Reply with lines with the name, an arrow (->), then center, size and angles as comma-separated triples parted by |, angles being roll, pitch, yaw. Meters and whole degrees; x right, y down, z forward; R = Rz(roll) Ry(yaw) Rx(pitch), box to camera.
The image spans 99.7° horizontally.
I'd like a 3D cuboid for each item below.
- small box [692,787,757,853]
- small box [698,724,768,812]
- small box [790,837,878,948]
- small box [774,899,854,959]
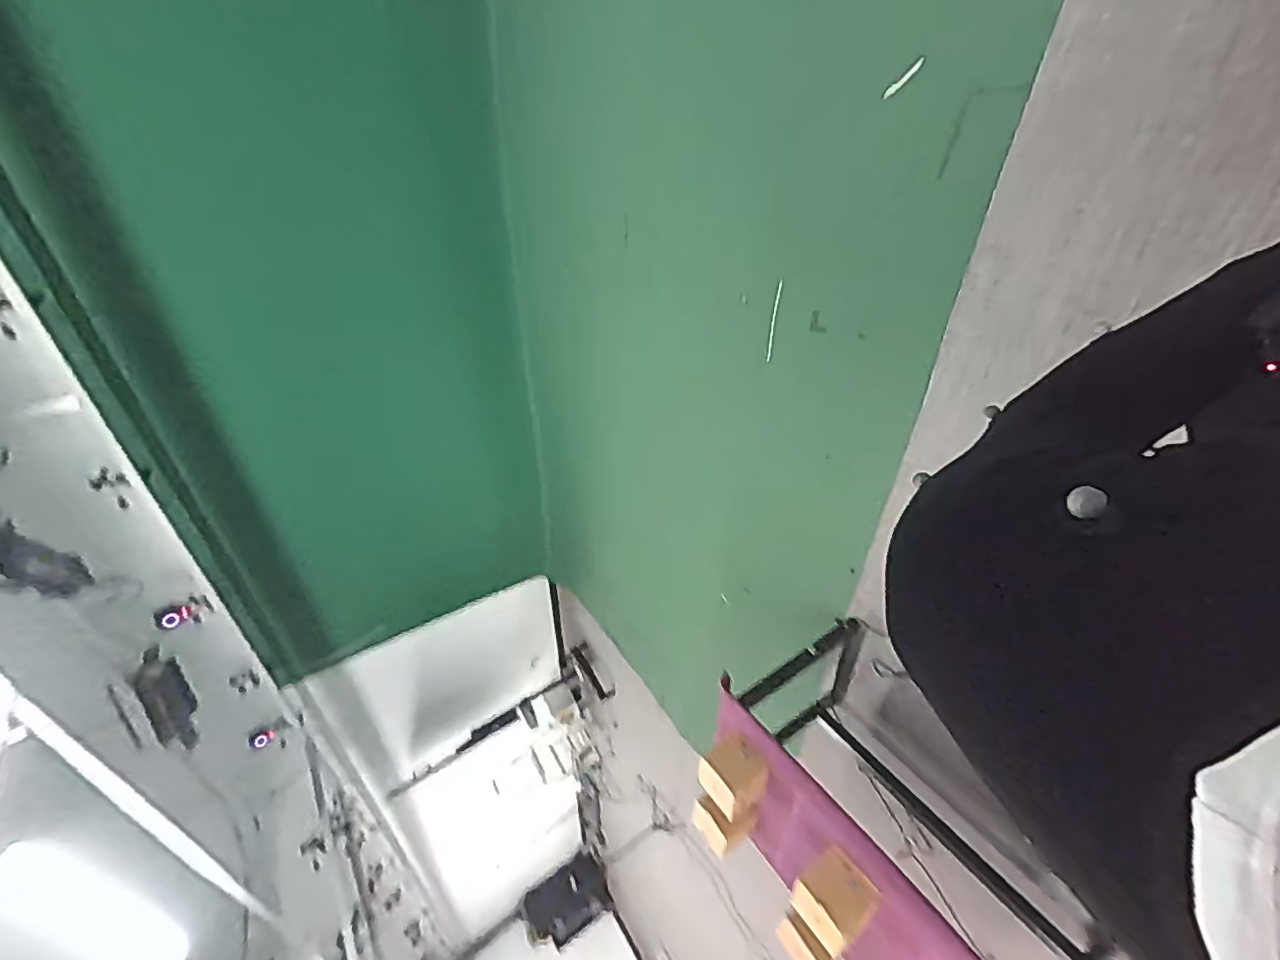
small box -> 0.320, 1.250, 2.046 | 0.168, 0.176, 0.179 | 41, 139, 41
small box -> 0.320, 0.990, 1.865 | 0.168, 0.176, 0.179 | 38, 140, 41
small box -> 0.570, 1.207, 1.589 | 0.168, 0.176, 0.179 | 38, 140, 44
small box -> 0.568, 1.450, 1.762 | 0.168, 0.176, 0.179 | 43, 143, 40
